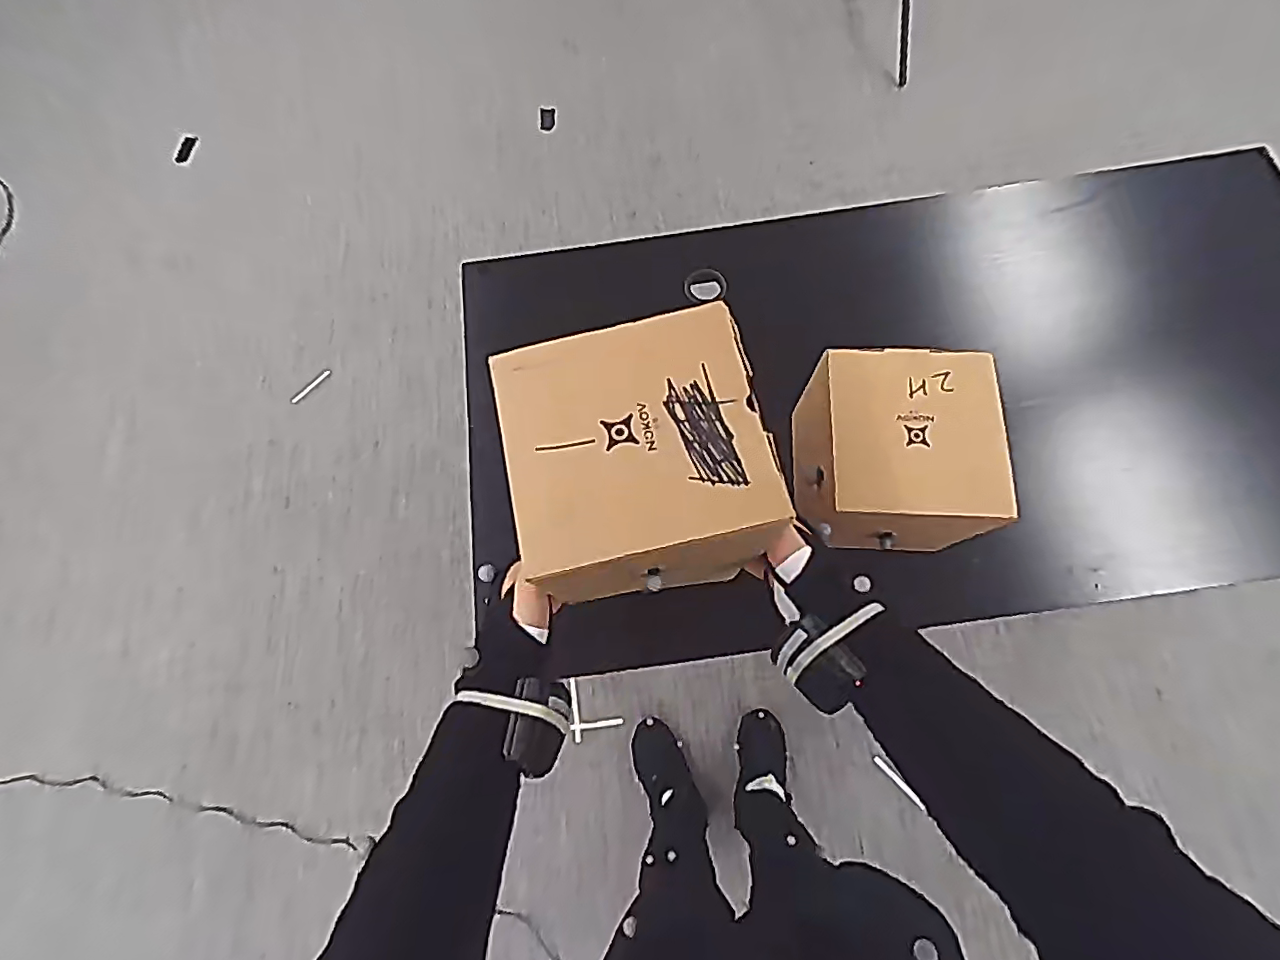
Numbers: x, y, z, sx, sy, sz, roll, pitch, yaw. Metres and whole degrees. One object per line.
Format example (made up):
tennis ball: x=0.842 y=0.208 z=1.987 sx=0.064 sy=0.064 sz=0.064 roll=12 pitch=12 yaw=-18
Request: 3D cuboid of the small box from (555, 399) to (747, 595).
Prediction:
small box: x=0.013 y=0.030 z=0.604 sx=0.179 sy=0.176 sz=0.168 roll=-8 pitch=72 yaw=2

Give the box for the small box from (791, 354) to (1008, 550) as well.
small box: x=0.270 y=-0.022 z=0.607 sx=0.168 sy=0.176 sz=0.179 roll=2 pitch=71 yaw=4
